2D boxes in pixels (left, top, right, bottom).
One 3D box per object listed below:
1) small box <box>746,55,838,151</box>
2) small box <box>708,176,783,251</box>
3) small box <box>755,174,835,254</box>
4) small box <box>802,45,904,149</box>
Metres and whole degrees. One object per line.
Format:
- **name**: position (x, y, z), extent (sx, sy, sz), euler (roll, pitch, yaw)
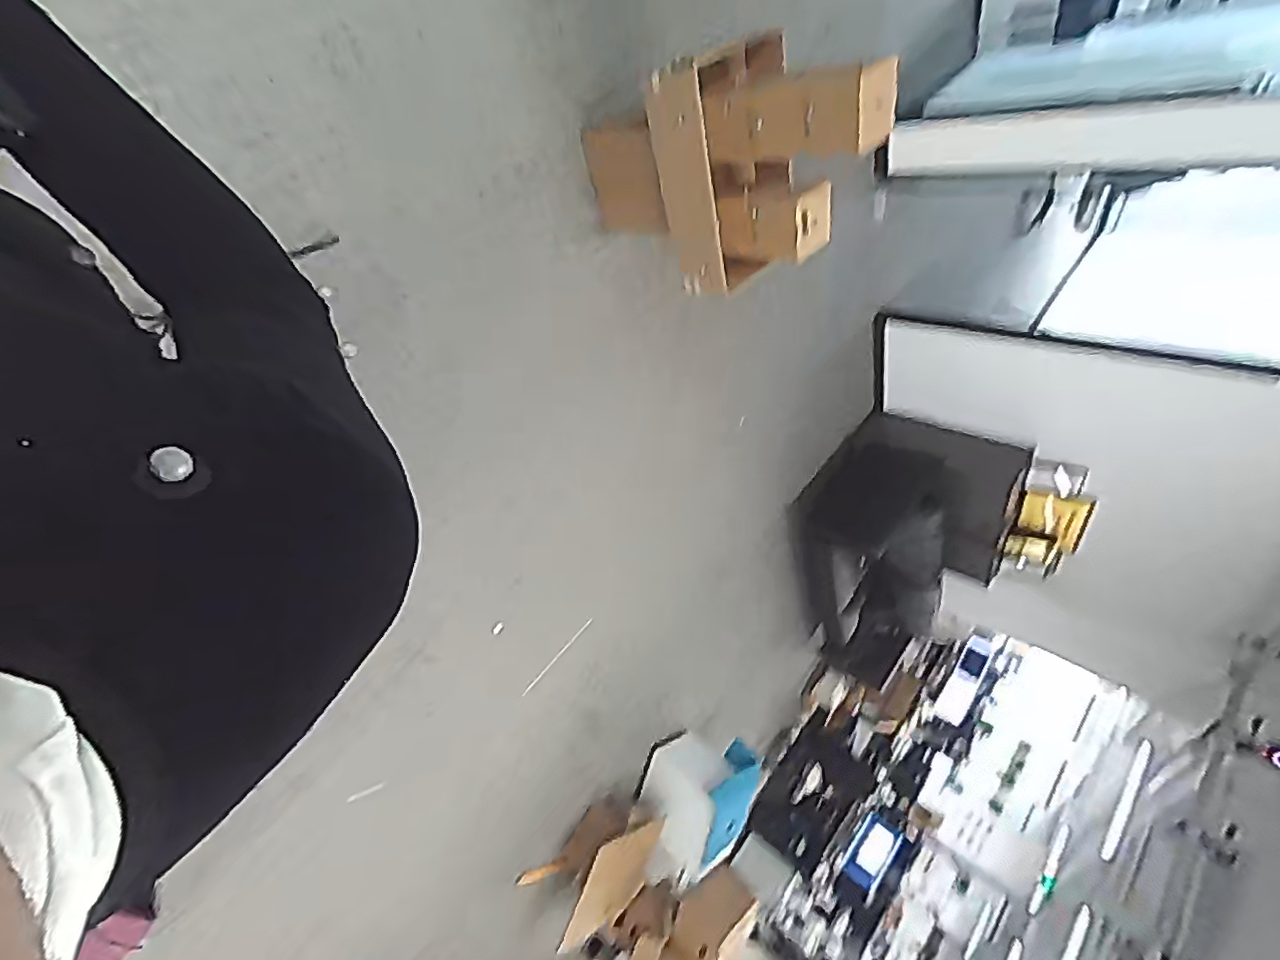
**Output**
- **small box**: position (0.401, -0.983, 1.417), extent (0.179, 0.176, 0.168), euler (-42, 135, -25)
- **small box**: position (0.335, -0.836, 1.685), extent (0.179, 0.176, 0.168), euler (-40, 135, -25)
- **small box**: position (0.449, -0.779, 1.581), extent (0.179, 0.176, 0.168), euler (-40, 135, -26)
- **small box**: position (0.514, -0.926, 1.315), extent (0.179, 0.176, 0.168), euler (-41, 135, -25)
